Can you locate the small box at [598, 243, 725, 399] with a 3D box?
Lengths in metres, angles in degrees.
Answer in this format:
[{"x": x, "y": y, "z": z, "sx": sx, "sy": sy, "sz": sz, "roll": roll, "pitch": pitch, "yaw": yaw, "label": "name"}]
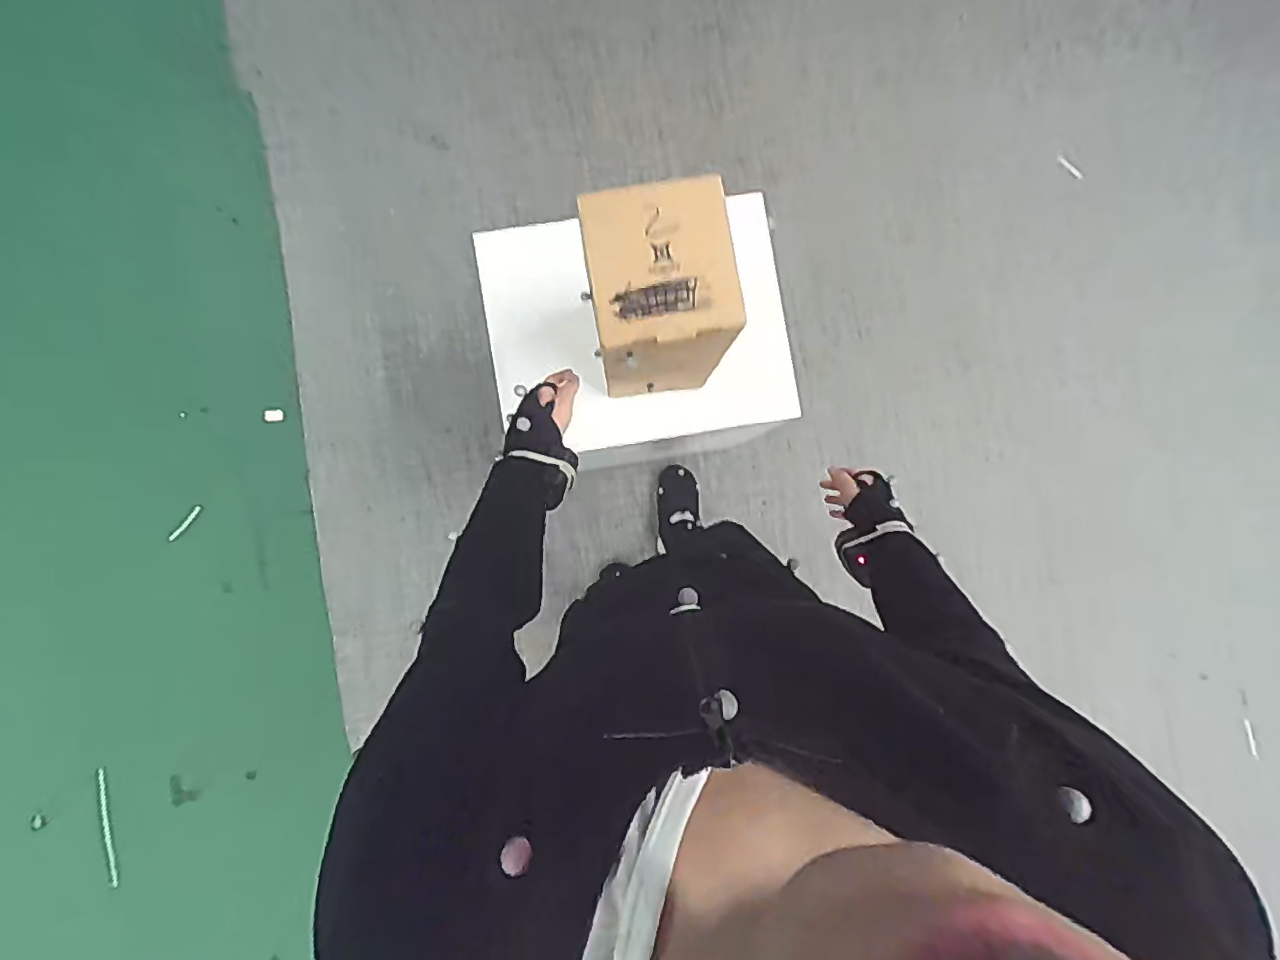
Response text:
[{"x": 0.026, "y": -0.236, "z": 0.838, "sx": 0.168, "sy": 0.176, "sz": 0.179, "roll": -8, "pitch": 87, "yaw": -2, "label": "small box"}]
